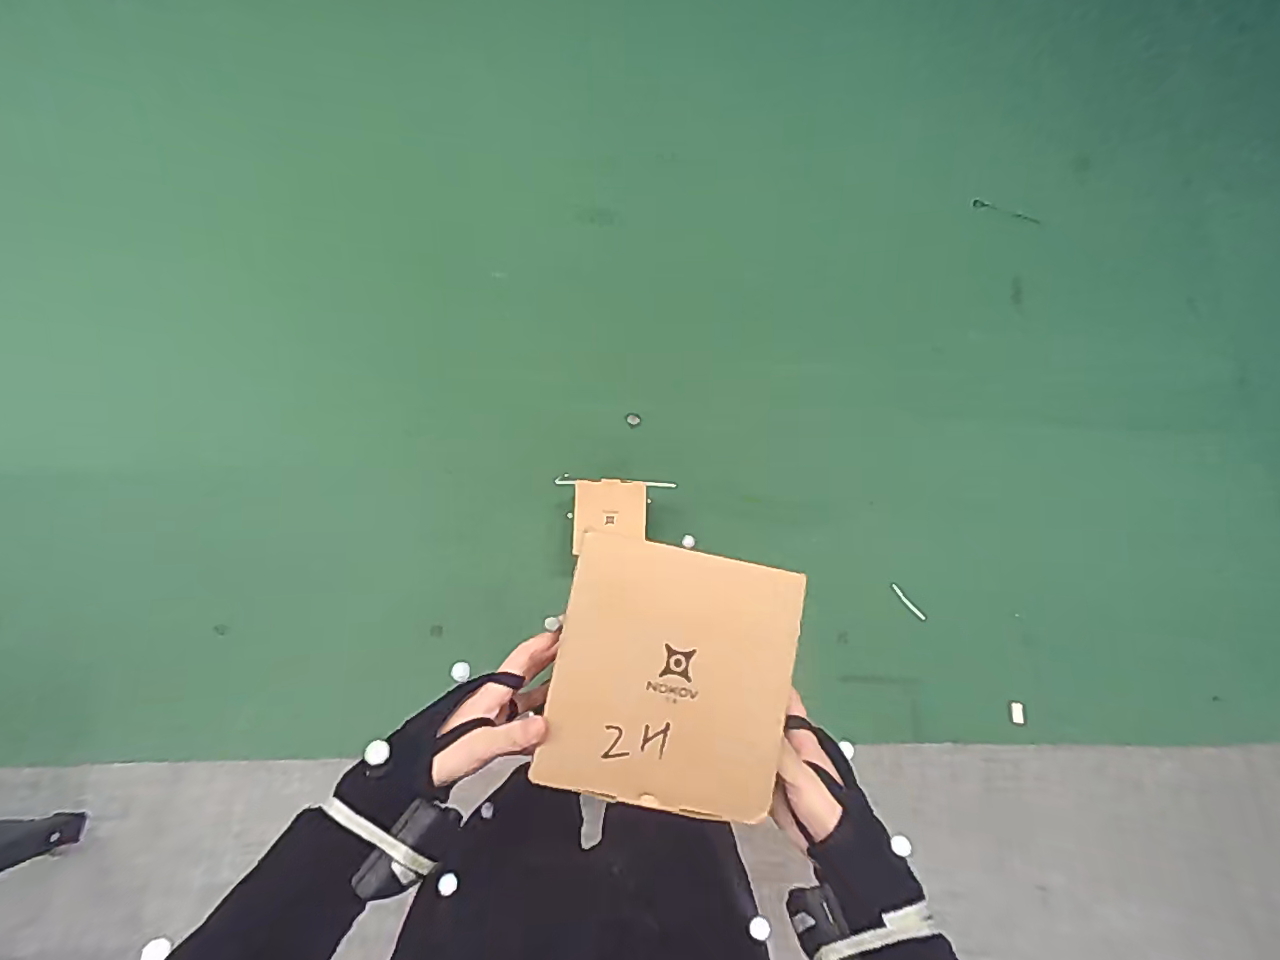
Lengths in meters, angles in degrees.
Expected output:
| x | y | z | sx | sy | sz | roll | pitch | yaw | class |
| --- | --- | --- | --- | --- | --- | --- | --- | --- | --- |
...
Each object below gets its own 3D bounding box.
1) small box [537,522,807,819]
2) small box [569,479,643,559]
| x | y | z | sx | sy | sz | roll | pitch | yaw | class |
| --- | --- | --- | --- | --- | --- | --- | --- | --- | --- |
| 0.020 | 0.143 | 0.460 | 0.168 | 0.176 | 0.179 | 13 | 82 | -2 | small box |
| -0.080 | 0.104 | 1.315 | 0.168 | 0.176 | 0.179 | 2 | 76 | -4 | small box |
